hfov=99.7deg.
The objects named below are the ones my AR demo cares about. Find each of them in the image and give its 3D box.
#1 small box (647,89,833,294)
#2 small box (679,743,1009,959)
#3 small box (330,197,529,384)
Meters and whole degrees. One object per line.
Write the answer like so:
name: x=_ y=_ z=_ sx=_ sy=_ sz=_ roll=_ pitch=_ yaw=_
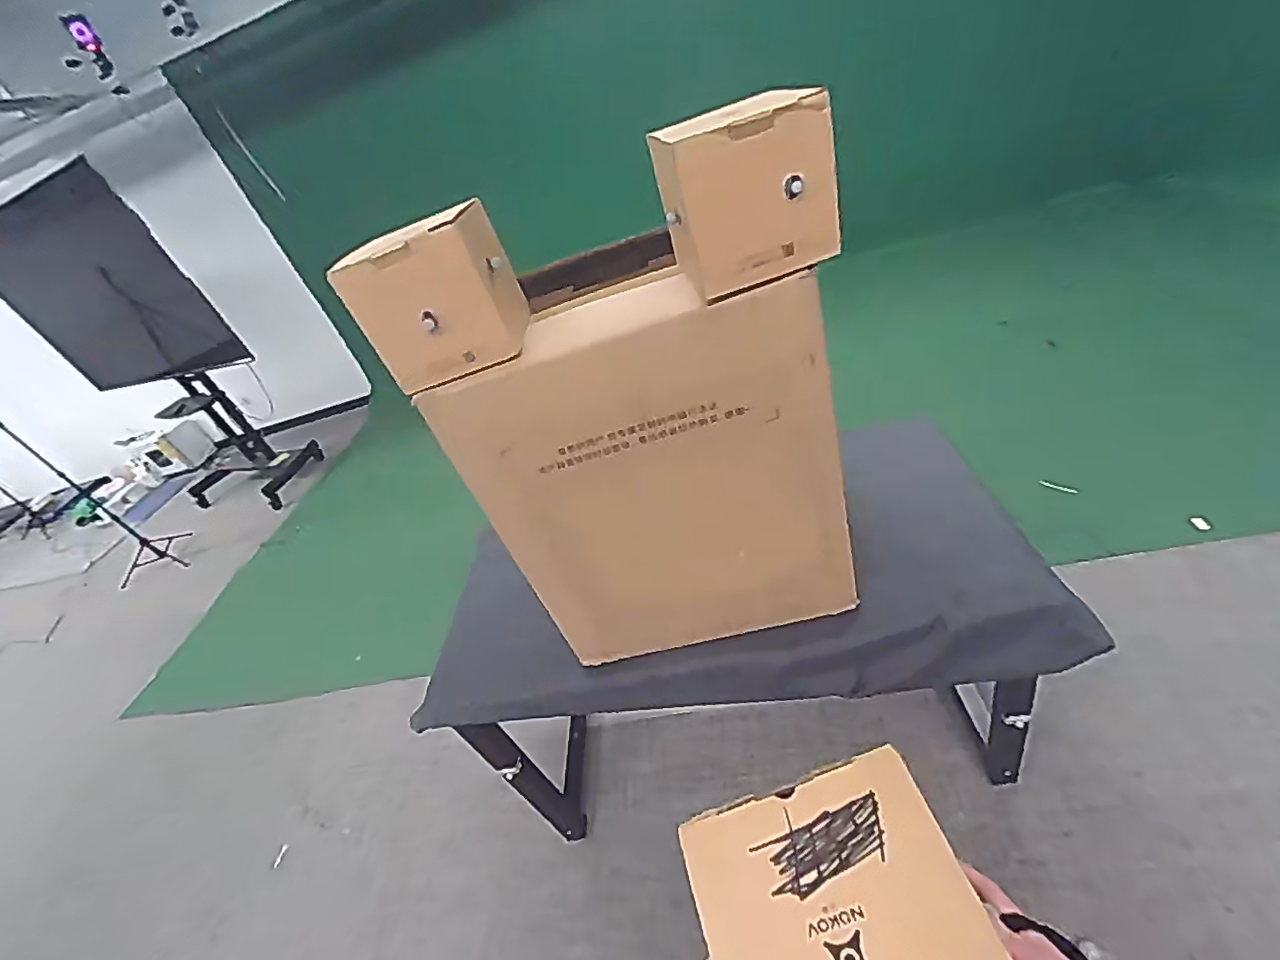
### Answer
small box: x=0.118 y=-0.341 z=0.648 sx=0.168 sy=0.176 sz=0.179 roll=-17 pitch=35 yaw=3
small box: x=0.145 y=0.322 z=0.379 sx=0.168 sy=0.176 sz=0.179 roll=-24 pitch=45 yaw=4
small box: x=-0.261 y=-0.247 z=0.721 sx=0.168 sy=0.176 sz=0.179 roll=-18 pitch=36 yaw=7
